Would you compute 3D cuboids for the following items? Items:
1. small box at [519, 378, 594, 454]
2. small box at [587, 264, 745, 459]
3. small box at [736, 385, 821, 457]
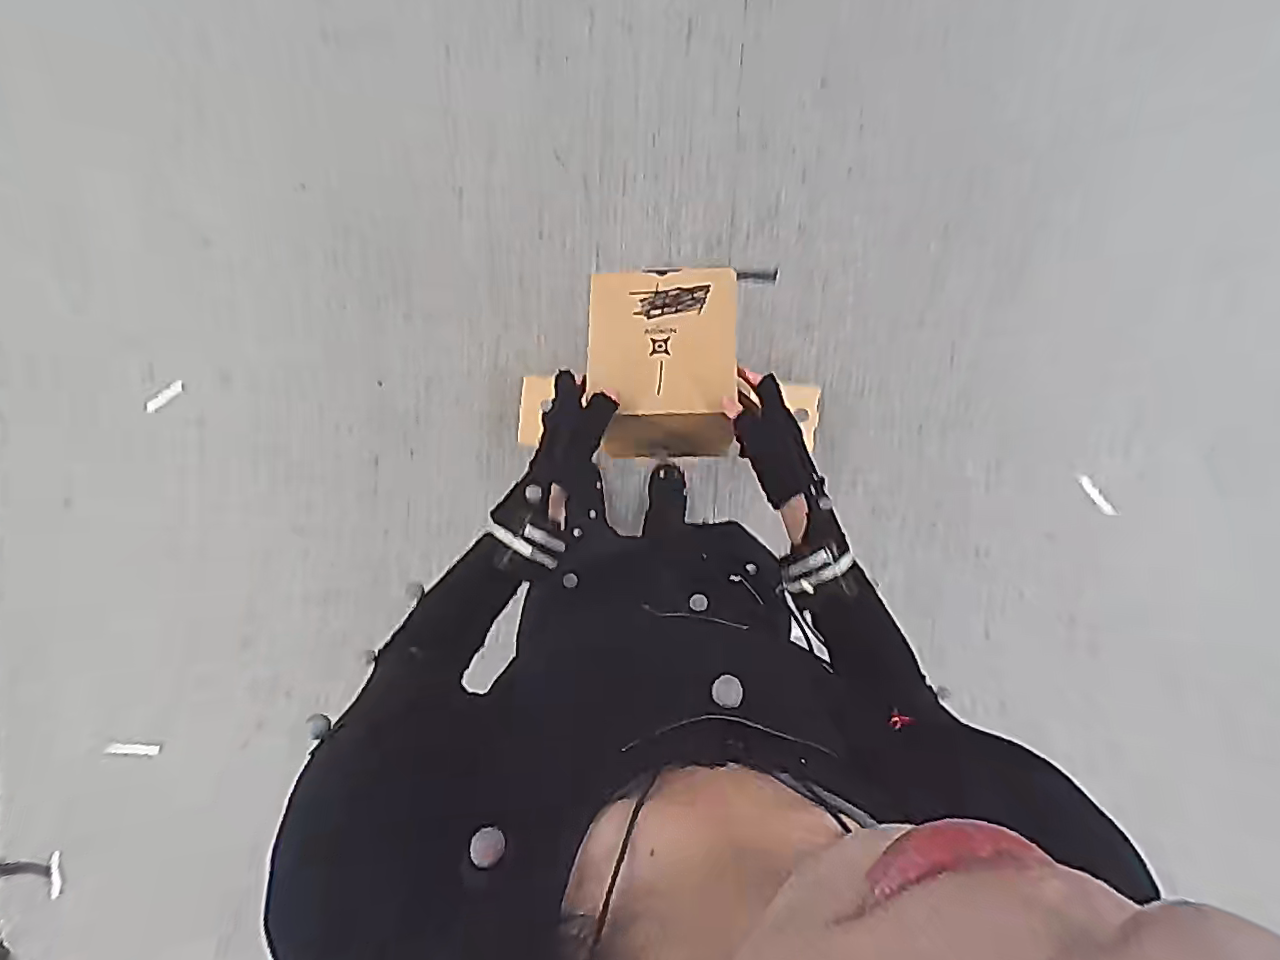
[{"bbox_3d":[-0.212,-0.165,1.418,0.168,0.176,0.179,6,95,0],"label":"small box"},{"bbox_3d":[0.037,-0.133,0.654,0.168,0.176,0.179,-1,77,8],"label":"small box"},{"bbox_3d":[0.352,-0.154,1.423,0.179,0.176,0.168,6,94,-2],"label":"small box"}]
